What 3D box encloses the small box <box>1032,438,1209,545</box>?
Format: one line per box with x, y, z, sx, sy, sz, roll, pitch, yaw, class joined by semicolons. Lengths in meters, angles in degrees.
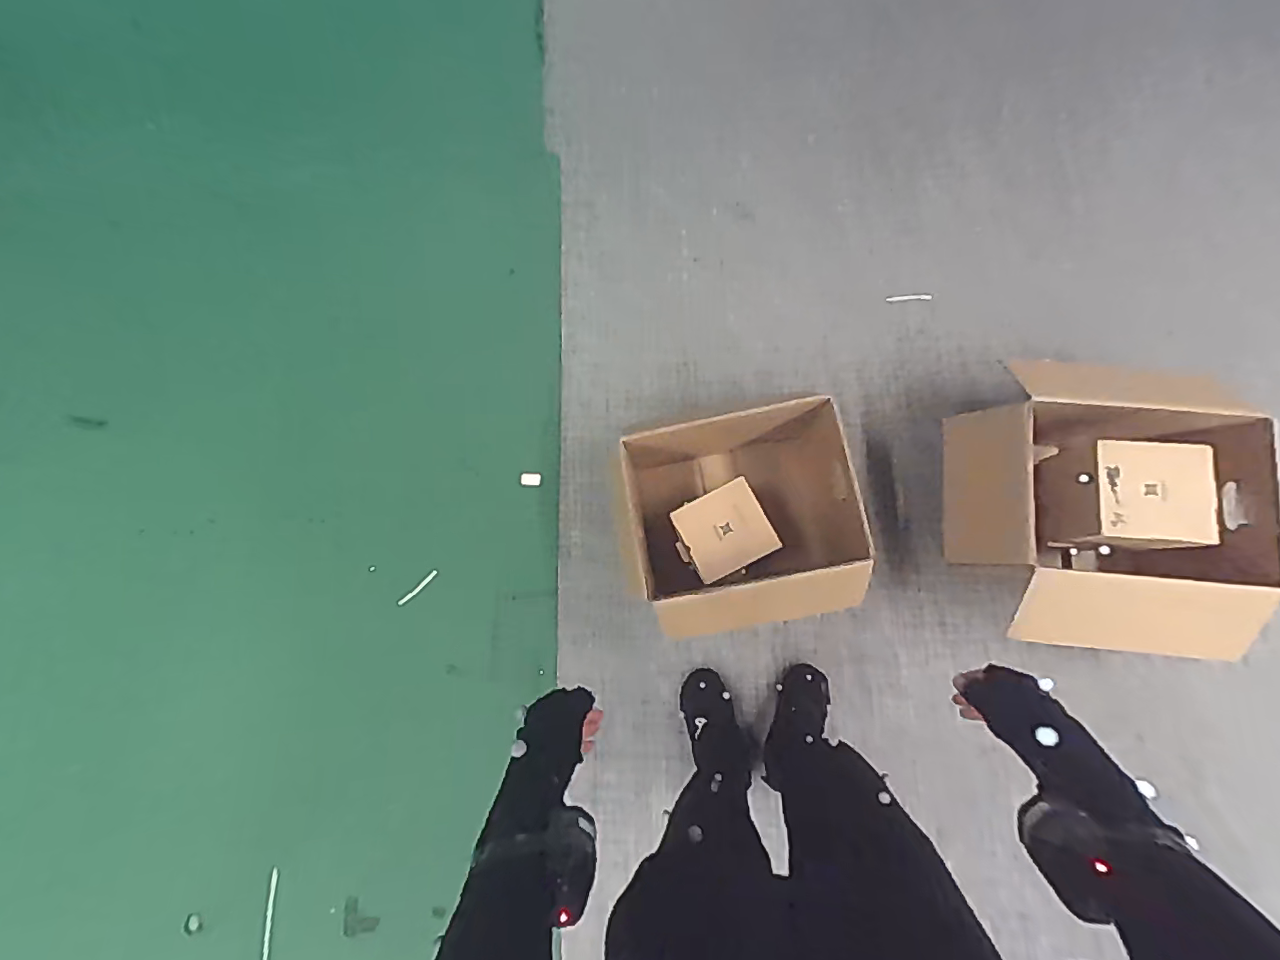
0.858;0.027;0.983;0.179;0.176;0.168;3;79;6;small box
